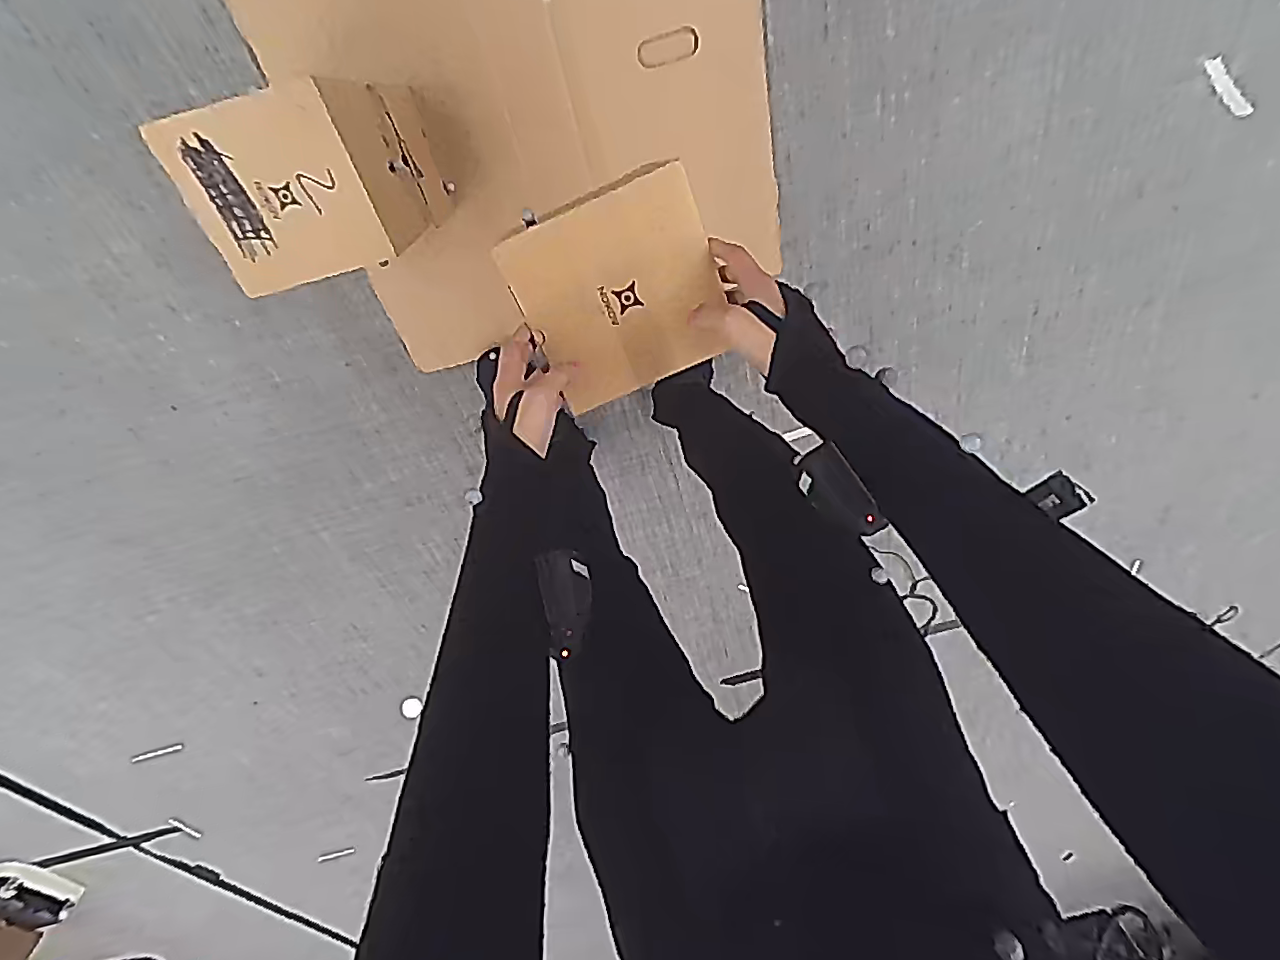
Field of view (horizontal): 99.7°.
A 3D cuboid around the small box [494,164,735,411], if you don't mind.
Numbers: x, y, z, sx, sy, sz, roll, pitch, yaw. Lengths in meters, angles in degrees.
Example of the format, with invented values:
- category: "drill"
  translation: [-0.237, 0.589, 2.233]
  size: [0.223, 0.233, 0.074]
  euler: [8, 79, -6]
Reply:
- category: "small box"
  translation: [-0.026, -0.203, 0.552]
  size: [0.179, 0.176, 0.168]
  euler: [-22, 120, 6]

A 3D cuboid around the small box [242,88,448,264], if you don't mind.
- category: "small box"
  translation: [-0.381, -0.422, 0.744]
  size: [0.179, 0.176, 0.168]
  euler: [-15, 126, 3]
